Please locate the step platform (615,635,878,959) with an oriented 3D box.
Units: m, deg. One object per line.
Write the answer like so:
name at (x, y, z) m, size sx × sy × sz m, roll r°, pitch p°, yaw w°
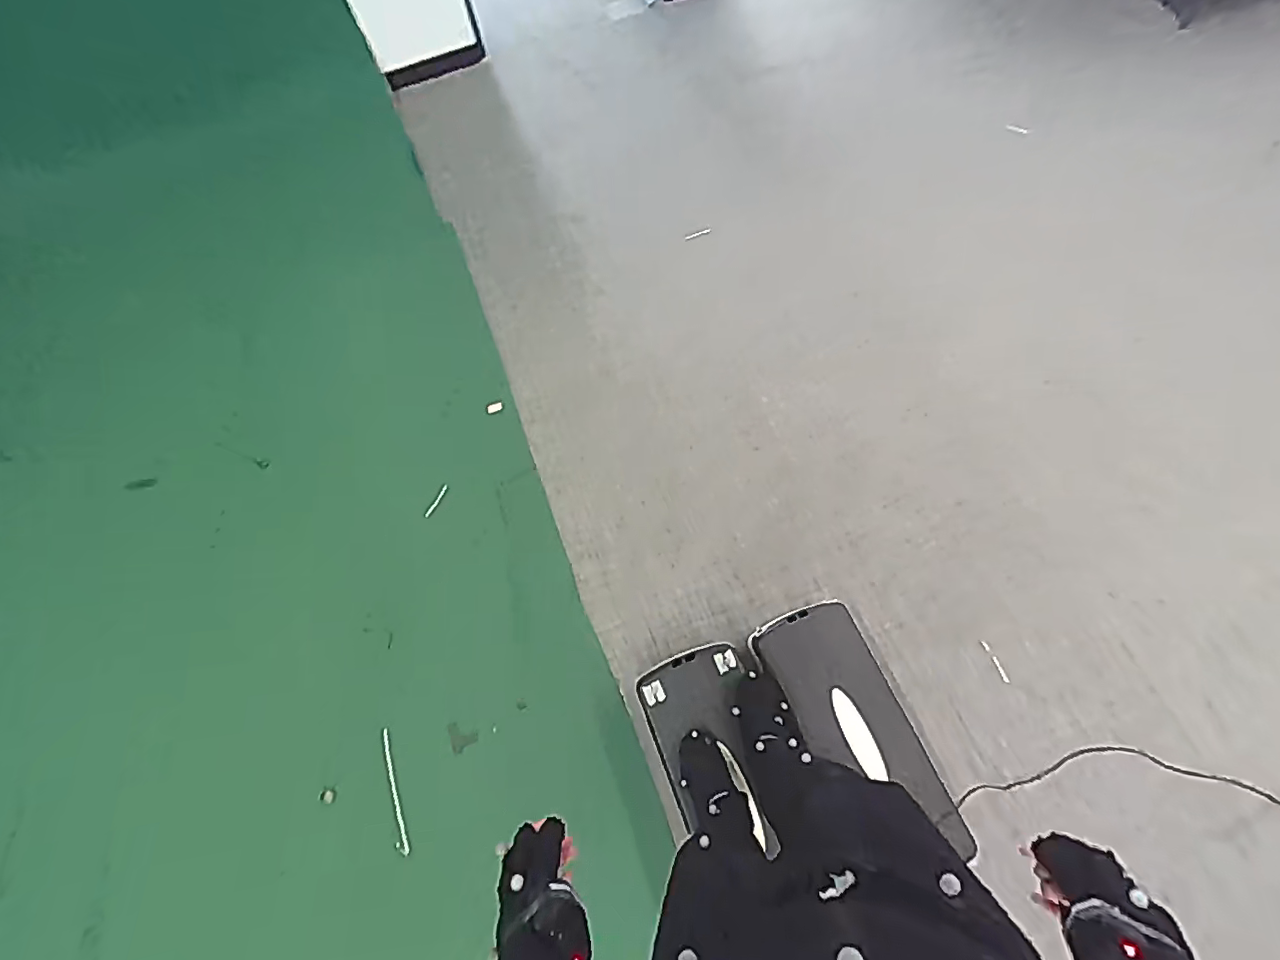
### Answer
step platform at (0.189, 0.691, 1.130) m, size 0.286 × 0.204 × 0.684 m, roll -21°, pitch 70°, yaw -6°
